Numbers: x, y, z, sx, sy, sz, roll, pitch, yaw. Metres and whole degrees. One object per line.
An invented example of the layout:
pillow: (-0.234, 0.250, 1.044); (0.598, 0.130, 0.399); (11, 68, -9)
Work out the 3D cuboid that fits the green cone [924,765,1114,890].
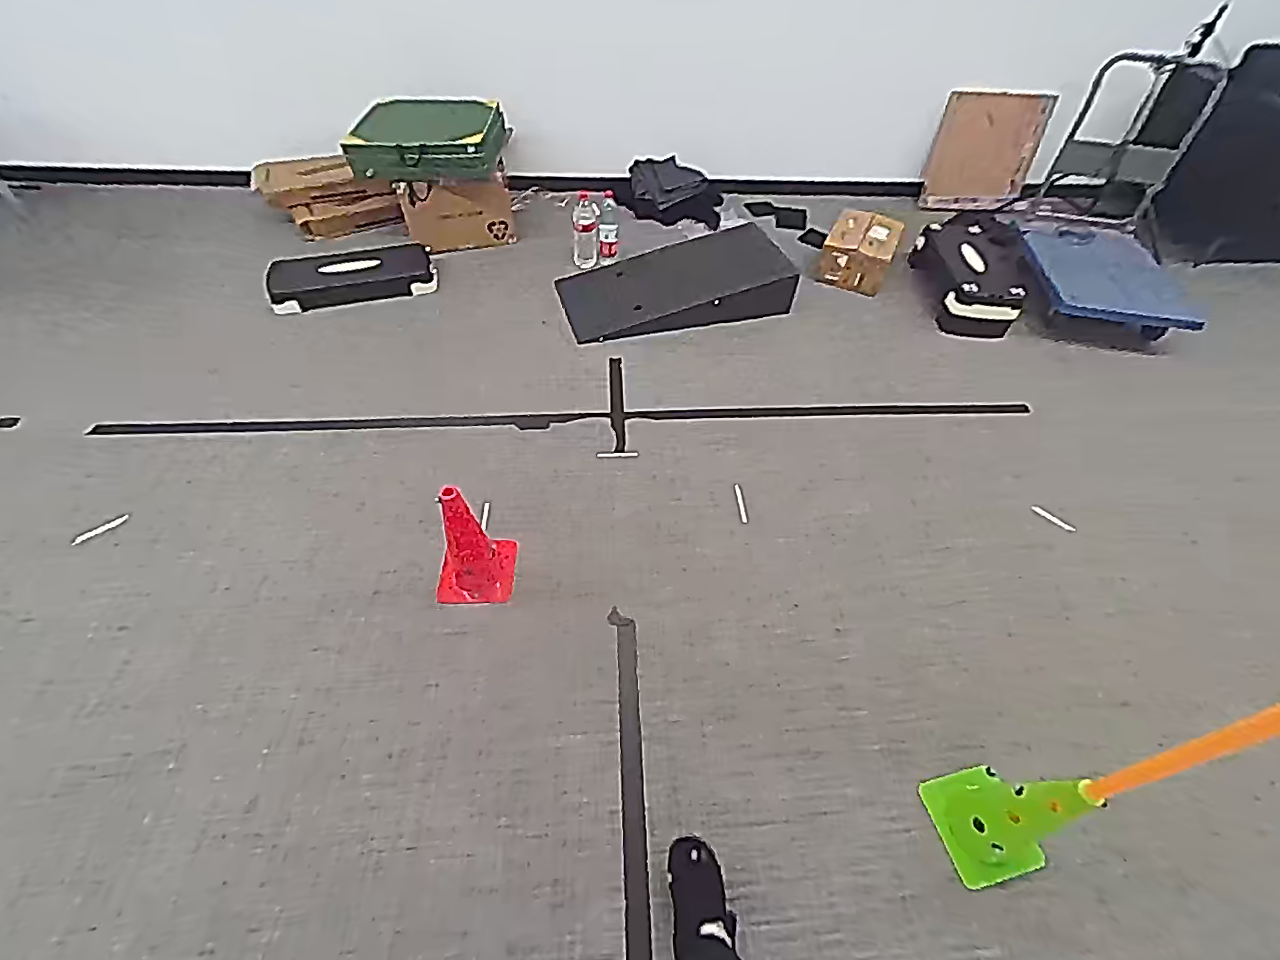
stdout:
green cone: (0.750, 0.635, 1.034); (0.200, 0.368, 0.202); (-10, 53, -11)
